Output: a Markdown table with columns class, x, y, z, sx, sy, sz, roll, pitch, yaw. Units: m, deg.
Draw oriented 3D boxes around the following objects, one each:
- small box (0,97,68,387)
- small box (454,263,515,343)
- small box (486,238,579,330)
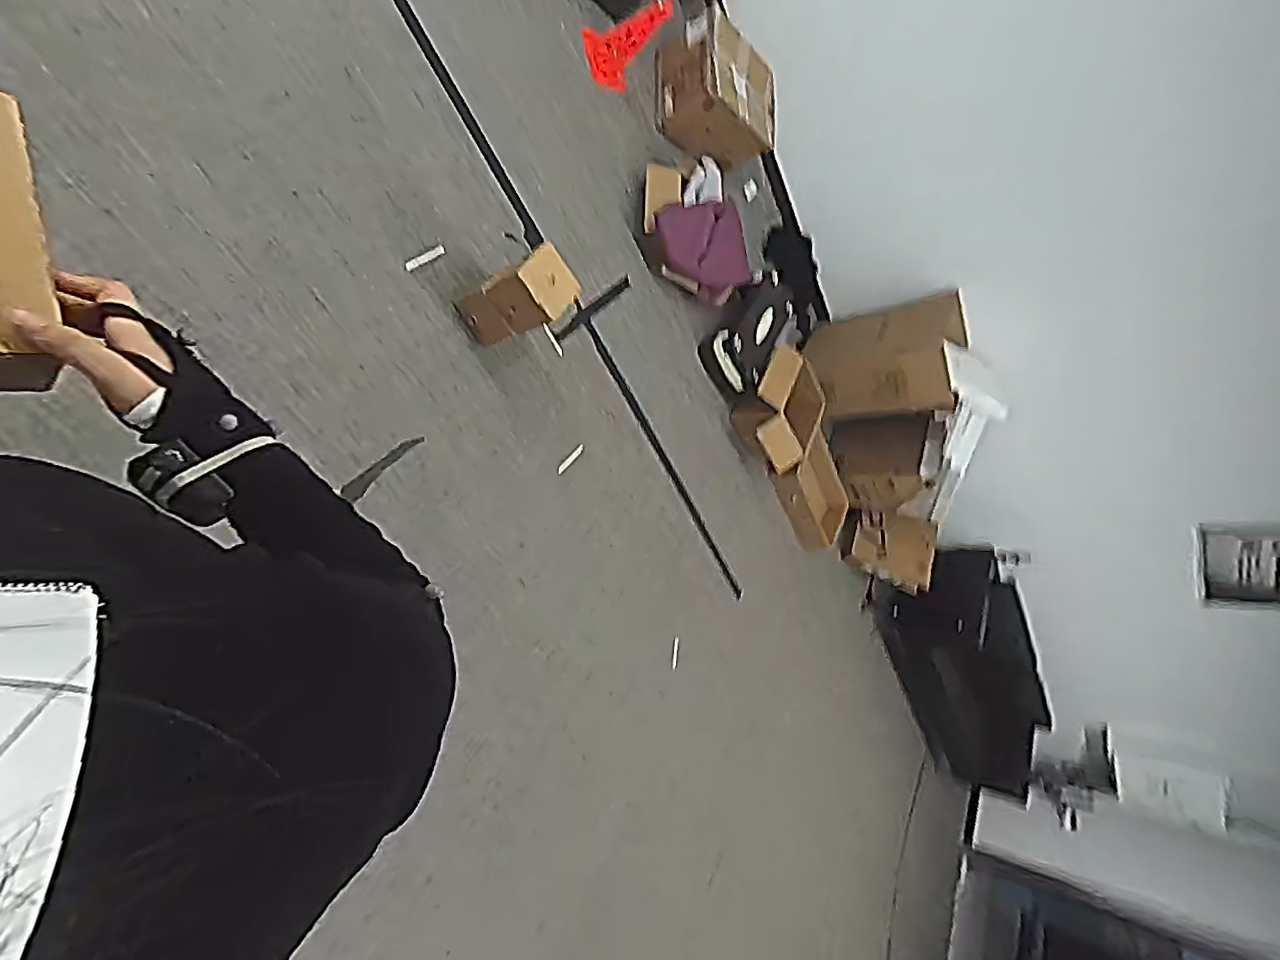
| class | x | y | z | sx | sy | sz | roll | pitch | yaw |
| --- | --- | --- | --- | --- | --- | --- | --- | --- | --- |
| small box | -0.516 | -0.156 | 0.361 | 0.168 | 0.176 | 0.179 | -11 | 99 | -49 |
| small box | -0.449 | -0.560 | 1.704 | 0.168 | 0.176 | 0.179 | 55 | 52 | -28 |
| small box | -0.320 | -0.575 | 1.600 | 0.168 | 0.176 | 0.179 | 51 | 53 | -30 |
